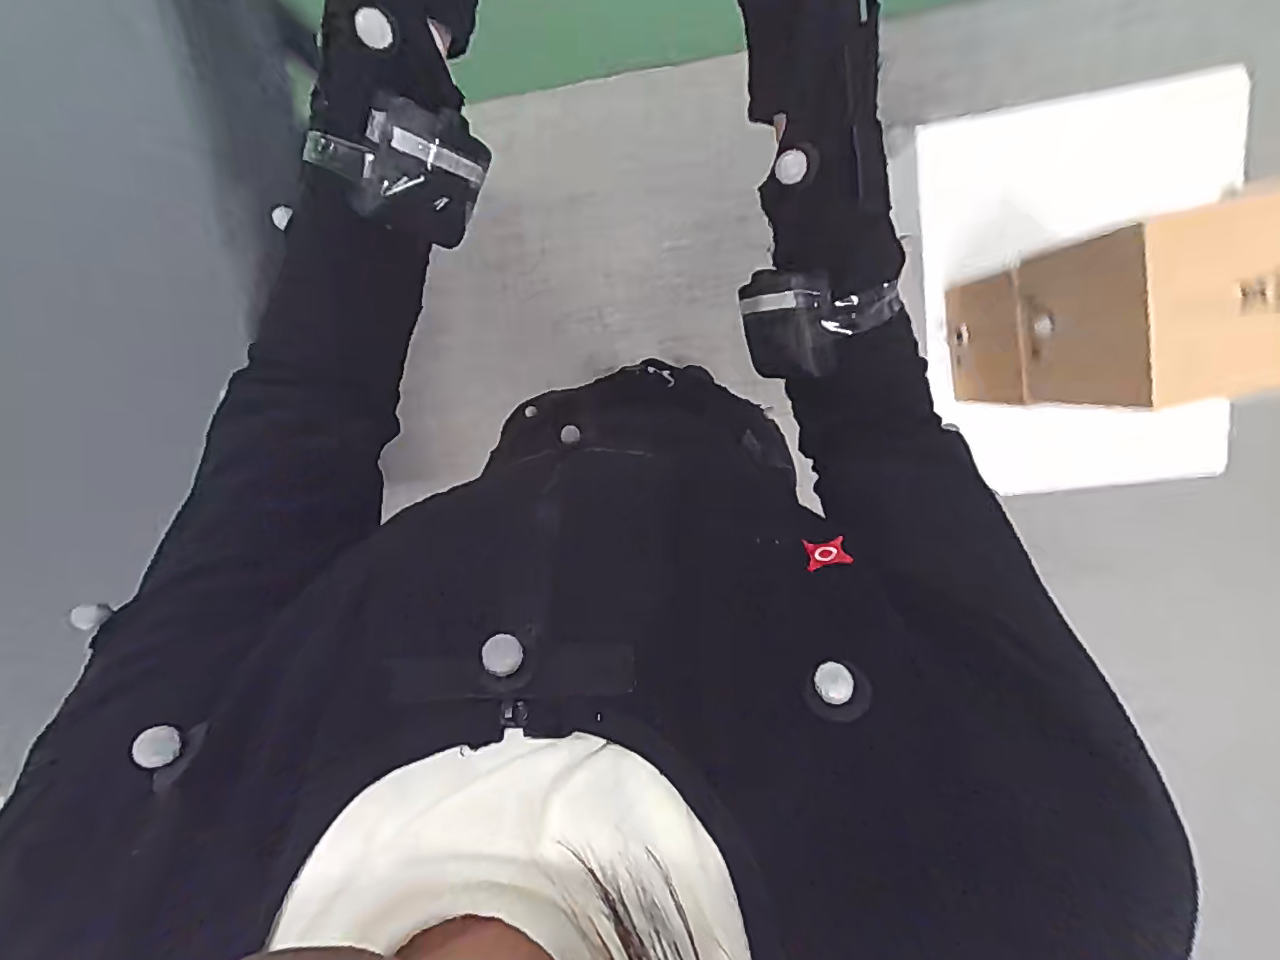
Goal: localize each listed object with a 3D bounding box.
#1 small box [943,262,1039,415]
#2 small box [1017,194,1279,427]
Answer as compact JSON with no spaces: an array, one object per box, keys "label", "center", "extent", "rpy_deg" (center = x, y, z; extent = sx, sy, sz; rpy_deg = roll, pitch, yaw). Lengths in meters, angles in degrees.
[{"label":"small box","center":[0.506,-0.181,0.665],"extent":[0.179,0.176,0.168],"rpy_deg":[-10,99,8]},{"label":"small box","center":[0.498,-0.154,0.503],"extent":[0.179,0.176,0.168],"rpy_deg":[-13,100,5]}]
